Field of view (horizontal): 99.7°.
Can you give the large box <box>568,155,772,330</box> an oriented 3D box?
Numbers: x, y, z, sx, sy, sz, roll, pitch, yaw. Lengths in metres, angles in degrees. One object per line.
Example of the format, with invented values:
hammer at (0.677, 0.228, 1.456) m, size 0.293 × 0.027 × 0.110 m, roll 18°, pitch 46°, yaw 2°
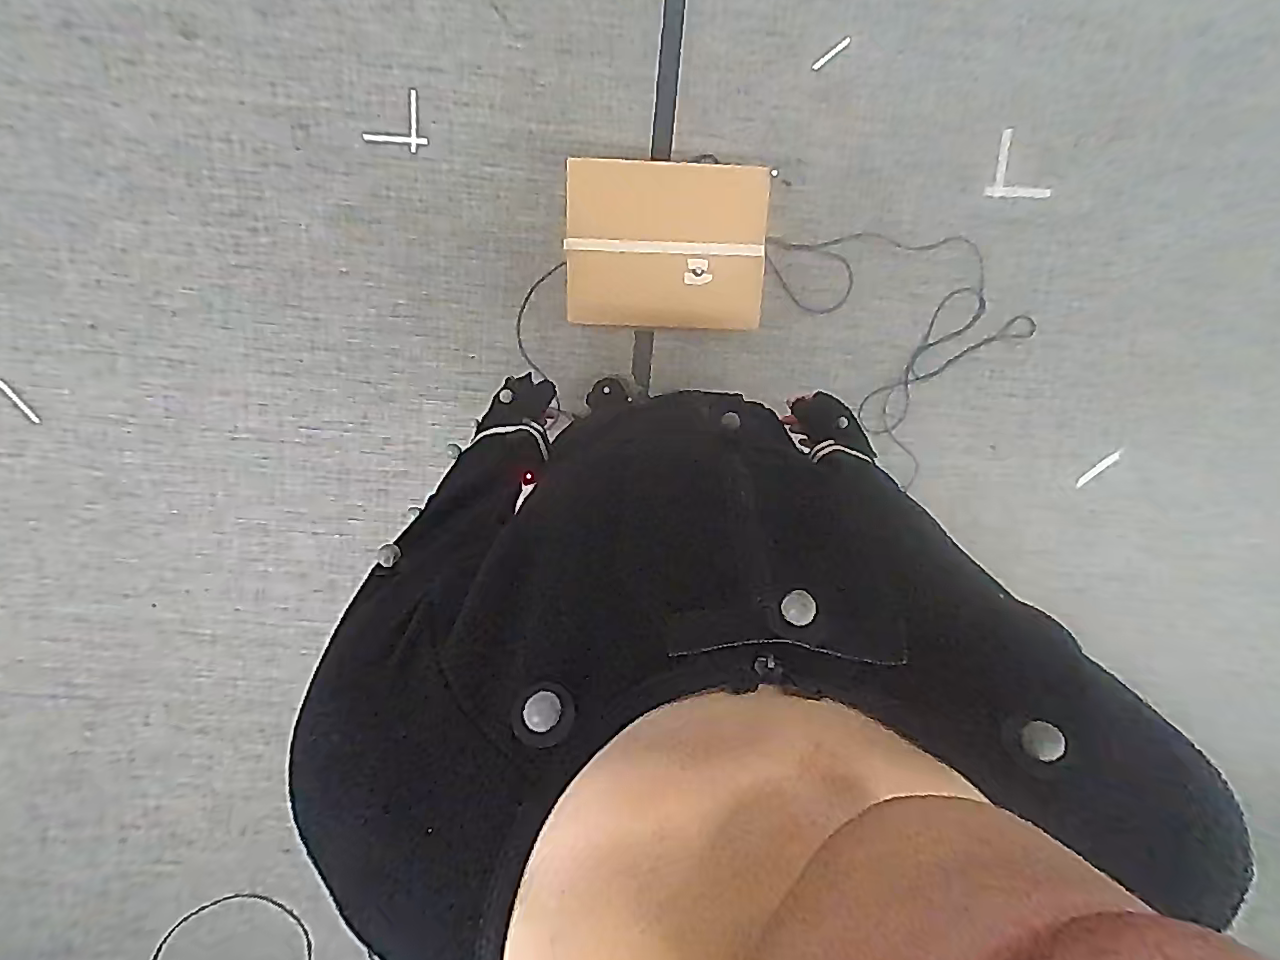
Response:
large box at (0.050, -0.508, 1.228) m, size 0.408 × 0.320 × 0.320 m, roll 1°, pitch 104°, yaw -3°
